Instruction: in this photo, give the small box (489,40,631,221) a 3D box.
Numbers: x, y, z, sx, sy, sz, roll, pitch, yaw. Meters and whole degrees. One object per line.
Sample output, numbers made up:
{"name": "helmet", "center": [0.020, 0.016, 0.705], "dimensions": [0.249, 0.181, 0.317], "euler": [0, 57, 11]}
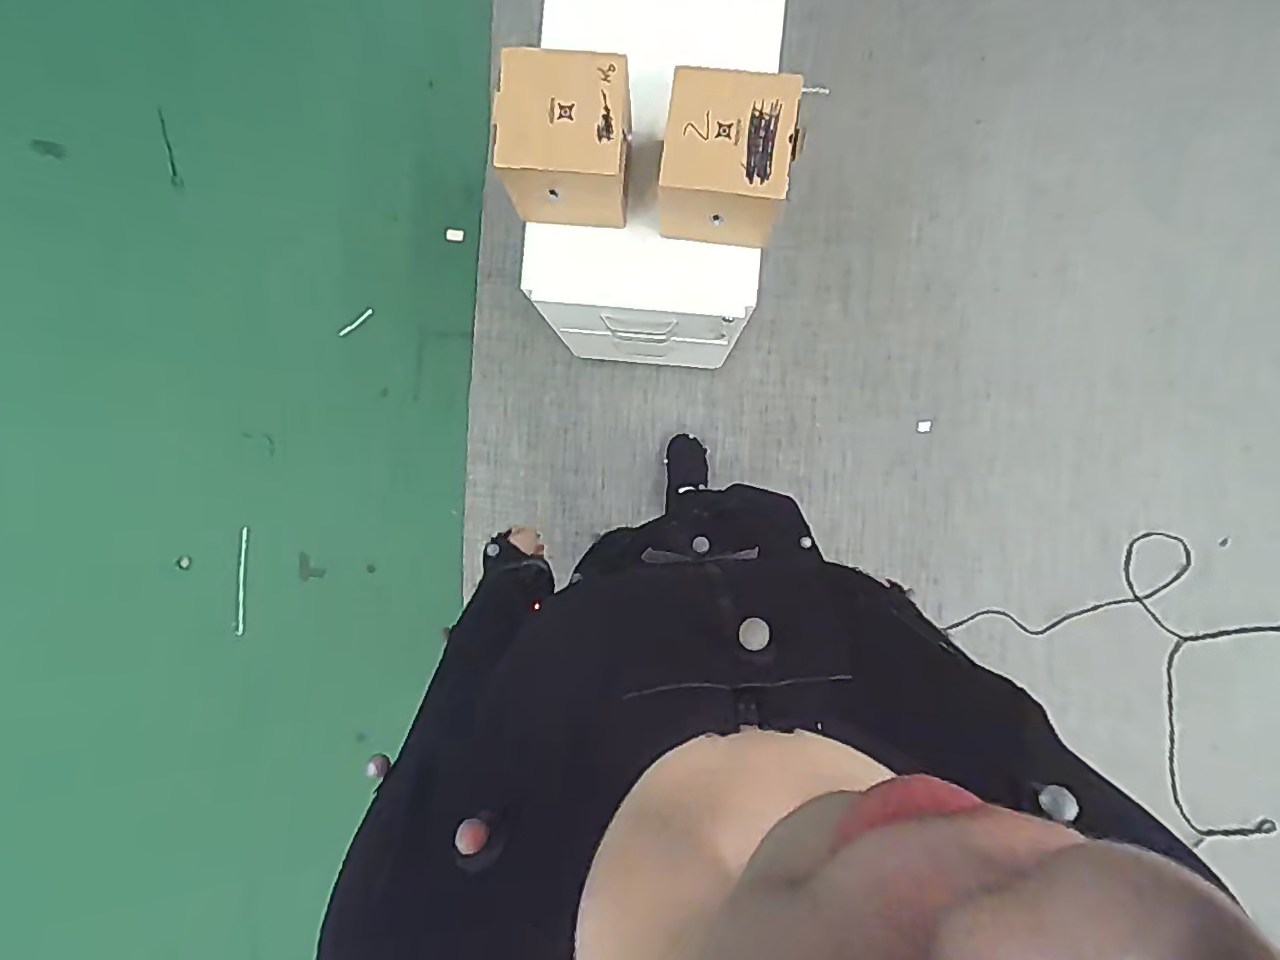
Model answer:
{"name": "small box", "center": [-0.110, -0.512, 0.814], "dimensions": [0.179, 0.176, 0.168], "euler": [5, 92, 2]}
